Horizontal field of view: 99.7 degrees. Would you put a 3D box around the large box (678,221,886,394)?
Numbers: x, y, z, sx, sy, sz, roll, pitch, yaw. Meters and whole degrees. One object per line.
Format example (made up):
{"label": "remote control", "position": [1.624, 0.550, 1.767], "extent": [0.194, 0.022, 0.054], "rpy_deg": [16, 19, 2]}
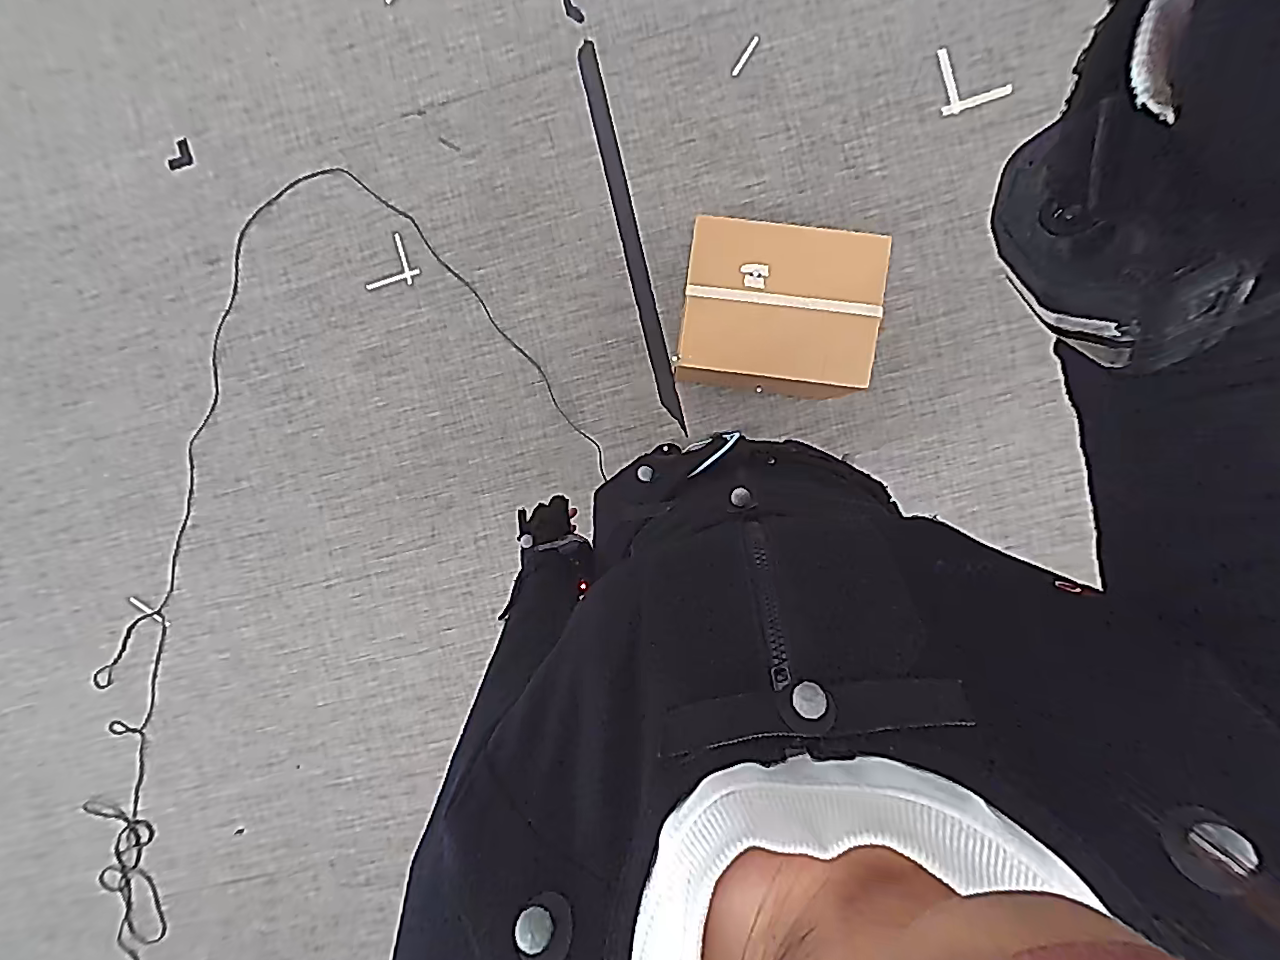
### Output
{"label": "large box", "position": [0.308, -0.384, 1.284], "extent": [0.408, 0.320, 0.320], "rpy_deg": [7, 94, 4]}
